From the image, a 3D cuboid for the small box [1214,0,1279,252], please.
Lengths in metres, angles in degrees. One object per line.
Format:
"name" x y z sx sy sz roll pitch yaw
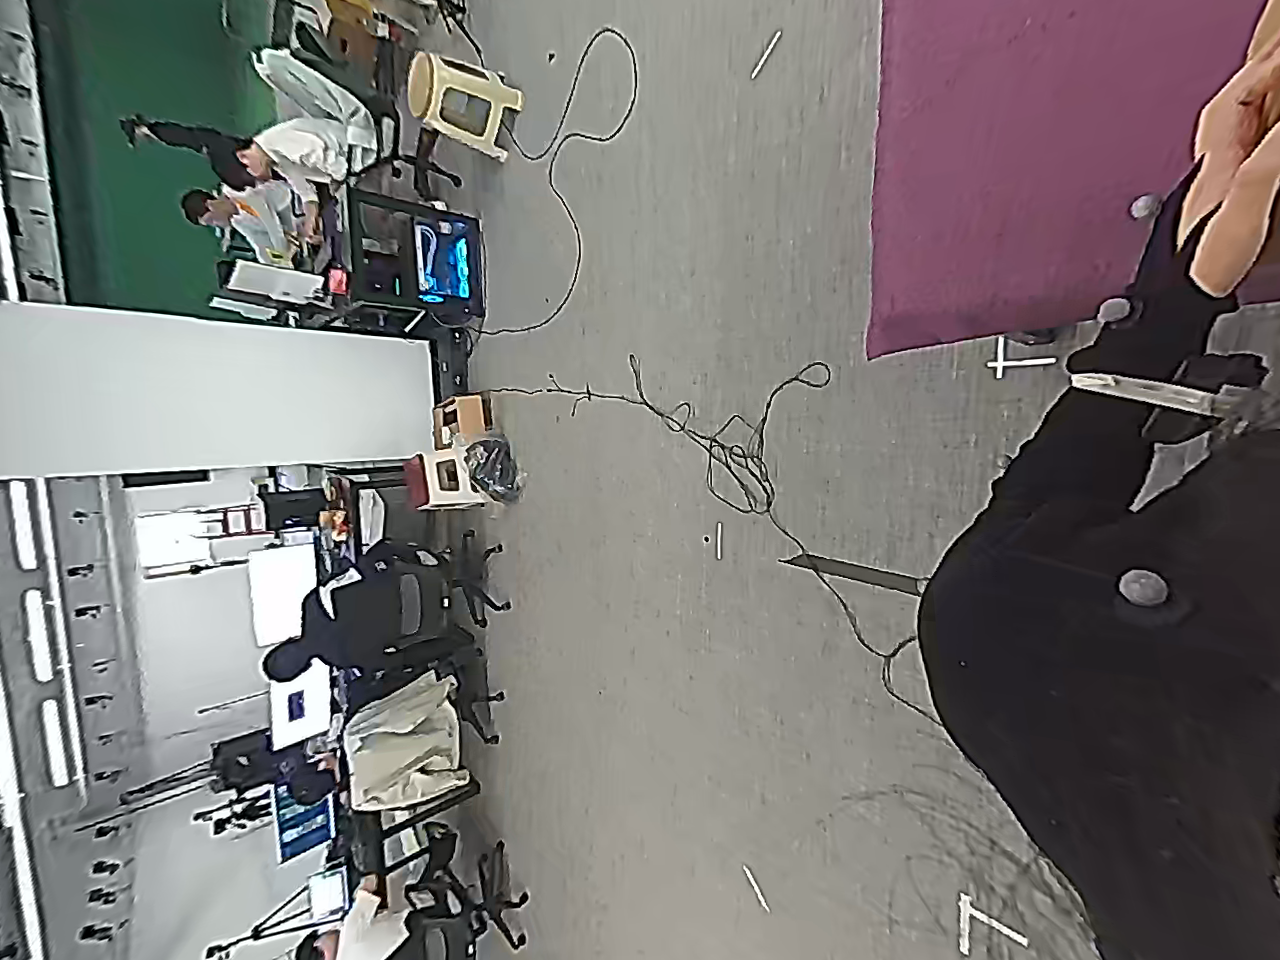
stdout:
"small box" 0.461 -0.238 0.294 0.168 0.176 0.179 11 94 35
